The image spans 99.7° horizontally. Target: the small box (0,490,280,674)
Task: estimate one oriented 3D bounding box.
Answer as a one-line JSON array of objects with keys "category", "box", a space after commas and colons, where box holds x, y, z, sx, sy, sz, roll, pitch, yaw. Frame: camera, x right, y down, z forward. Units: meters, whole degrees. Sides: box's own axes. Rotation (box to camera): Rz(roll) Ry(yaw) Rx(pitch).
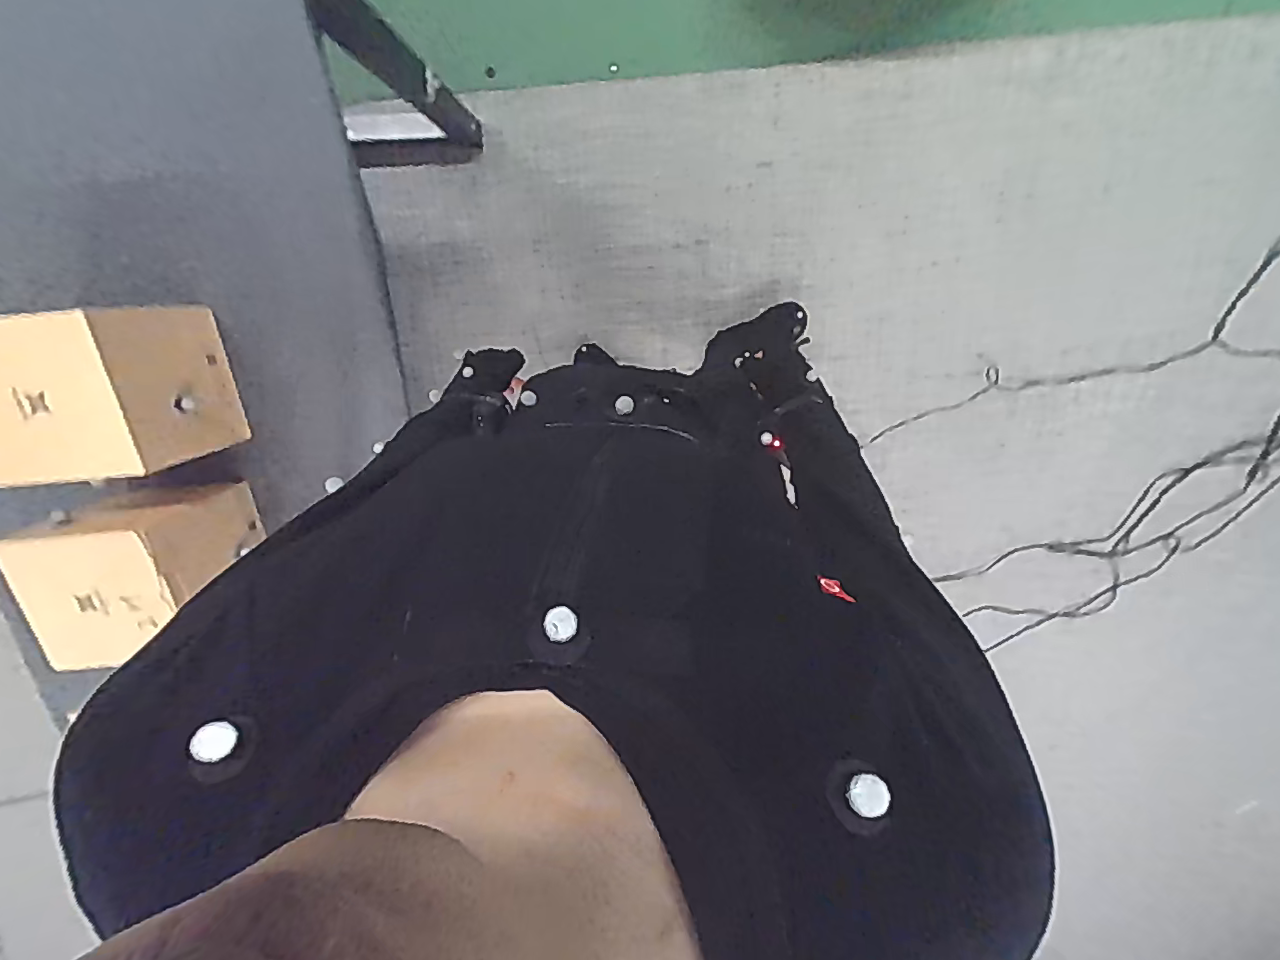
[{"category": "small box", "box": [-0.610, 0.119, 0.684, 0.179, 0.176, 0.168, -6, 108, 2]}]
